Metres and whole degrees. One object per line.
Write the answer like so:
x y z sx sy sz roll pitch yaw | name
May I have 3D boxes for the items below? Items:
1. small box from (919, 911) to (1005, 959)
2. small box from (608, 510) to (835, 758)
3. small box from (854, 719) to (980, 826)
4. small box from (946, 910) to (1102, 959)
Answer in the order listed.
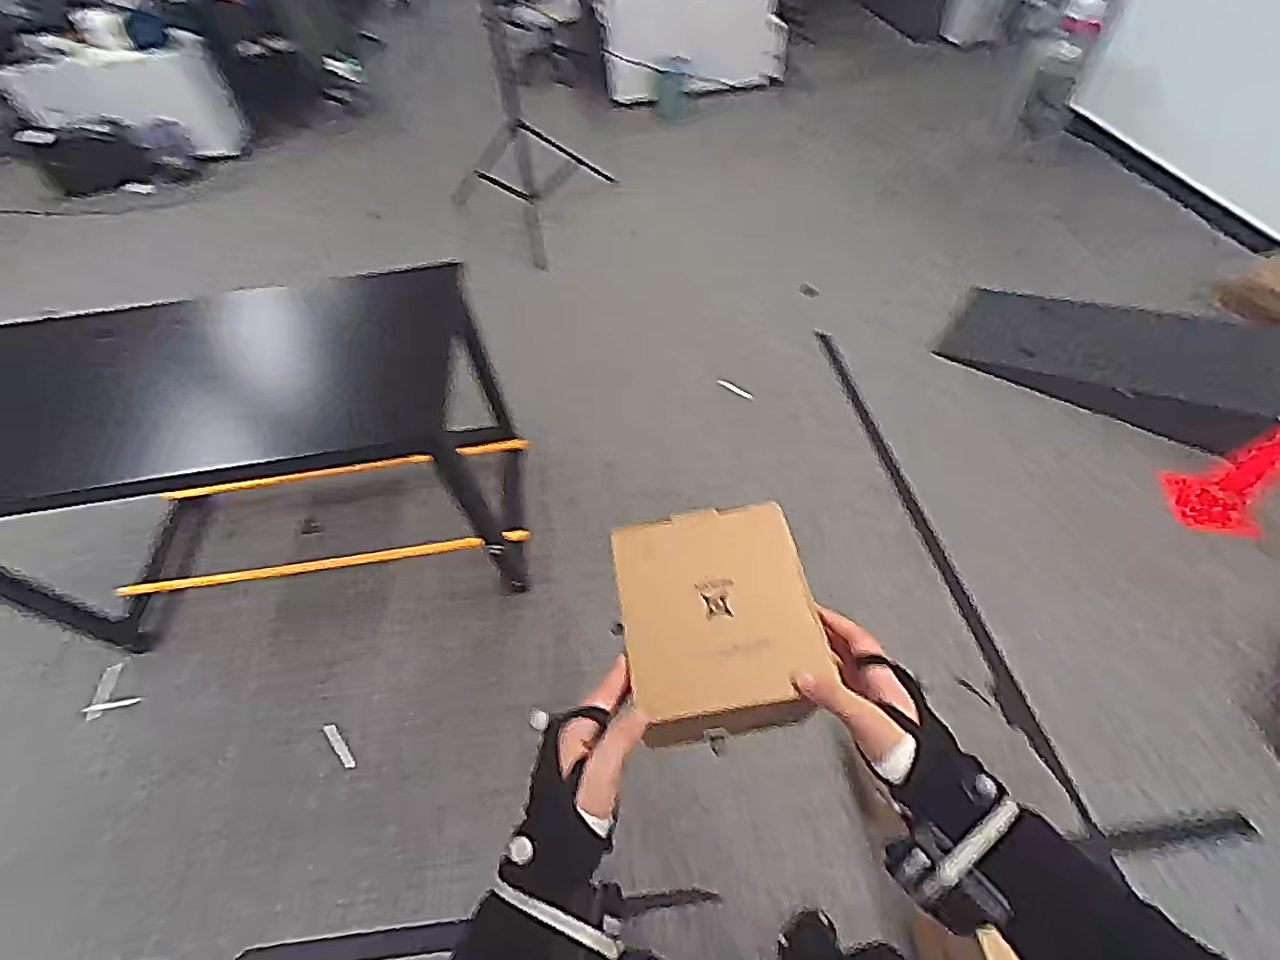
0.646 0.914 1.003 0.179 0.176 0.168 -7 54 1 | small box
0.065 0.155 0.532 0.168 0.176 0.179 -10 57 -2 | small box
0.599 0.652 1.196 0.168 0.176 0.179 -10 53 -2 | small box
0.633 0.813 0.872 0.168 0.176 0.179 -8 54 -1 | small box
